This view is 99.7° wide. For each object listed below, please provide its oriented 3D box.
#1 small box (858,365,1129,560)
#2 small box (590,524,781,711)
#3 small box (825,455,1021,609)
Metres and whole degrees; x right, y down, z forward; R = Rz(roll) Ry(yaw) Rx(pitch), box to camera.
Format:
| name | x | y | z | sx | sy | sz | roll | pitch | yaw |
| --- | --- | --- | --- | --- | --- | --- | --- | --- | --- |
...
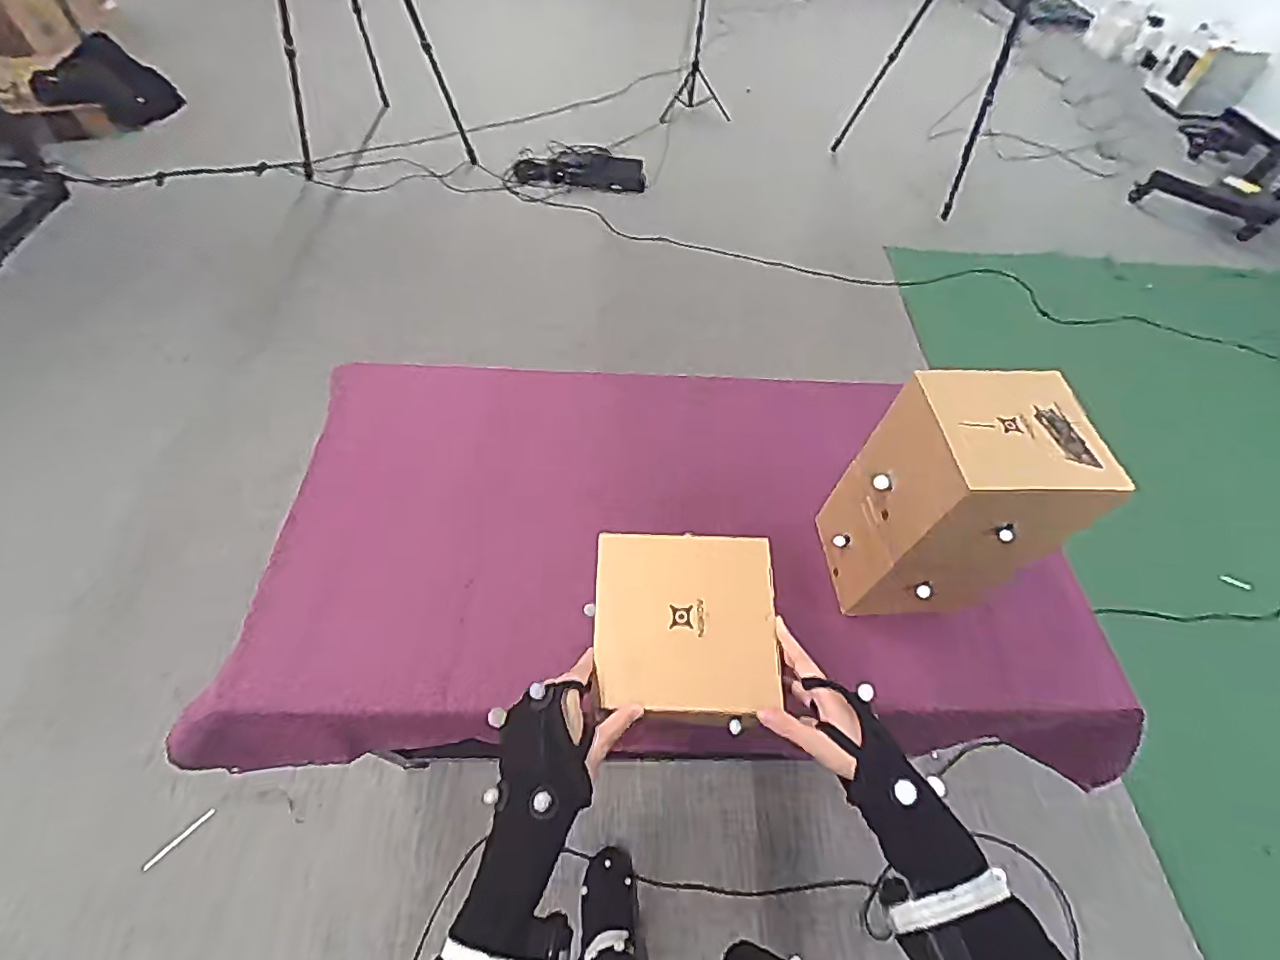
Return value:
| name | x | y | z | sx | sy | sz | roll | pitch | yaw |
| --- | --- | --- | --- | --- | --- | --- | --- | --- | --- |
| small box | 0.389 | -0.015 | 0.635 | 0.179 | 0.176 | 0.168 | -1 | 55 | -4 |
| small box | 0.041 | 0.157 | 0.591 | 0.179 | 0.176 | 0.168 | 2 | 63 | -2 |
| small box | 0.380 | 0.077 | 0.772 | 0.179 | 0.176 | 0.168 | -2 | 56 | -4 |
